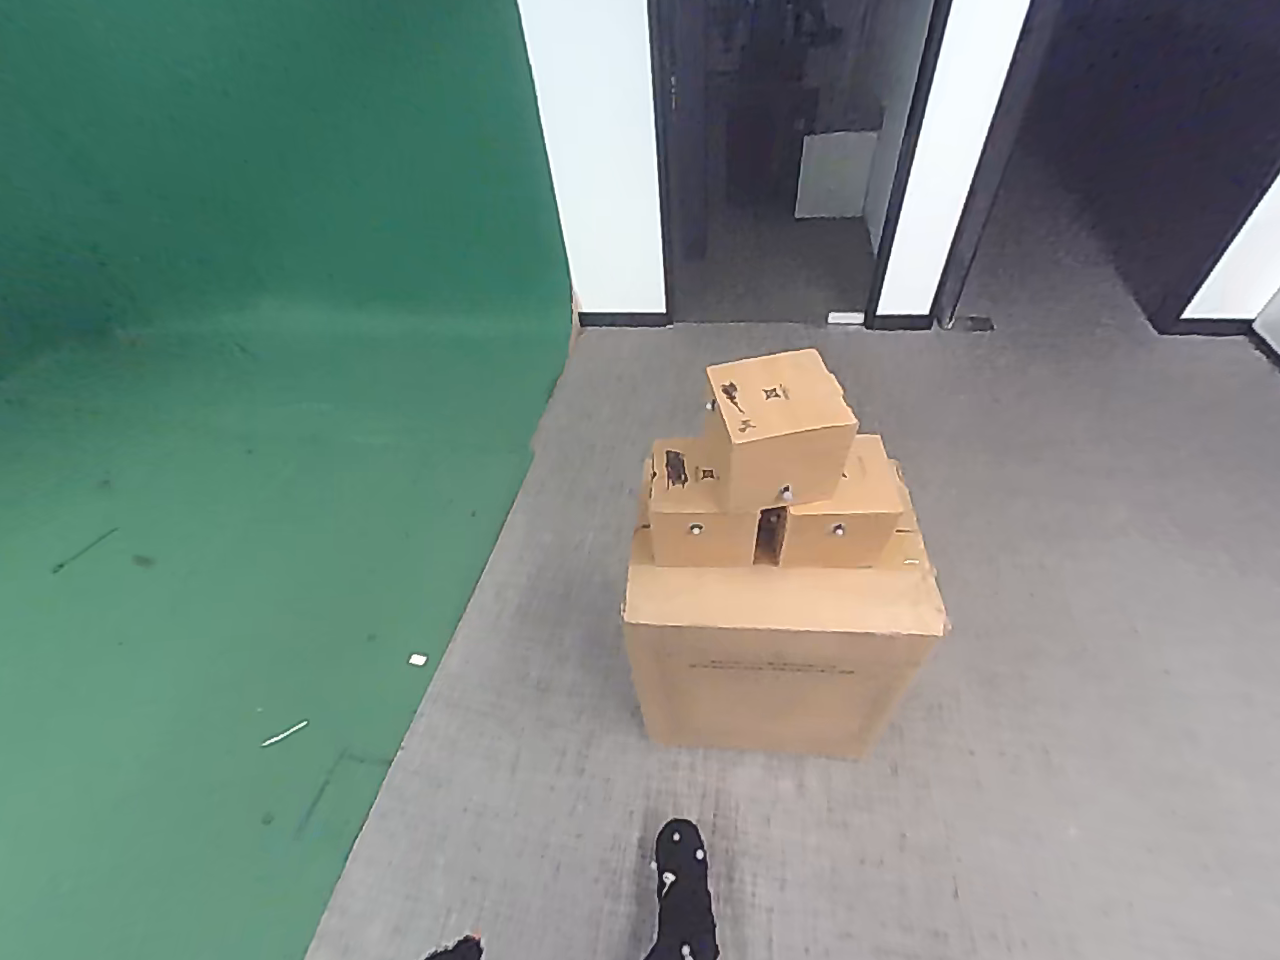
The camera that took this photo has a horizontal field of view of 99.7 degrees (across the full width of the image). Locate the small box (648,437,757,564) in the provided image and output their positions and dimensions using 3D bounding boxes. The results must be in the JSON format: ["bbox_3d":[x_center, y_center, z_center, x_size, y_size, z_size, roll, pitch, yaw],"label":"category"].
[{"bbox_3d":[0.112,0.040,0.972,0.179,0.176,0.168,0,51,6],"label":"small box"}]

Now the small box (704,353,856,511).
[{"bbox_3d":[0.203,-0.071,0.840,0.179,0.176,0.168,-9,50,-2],"label":"small box"}]
